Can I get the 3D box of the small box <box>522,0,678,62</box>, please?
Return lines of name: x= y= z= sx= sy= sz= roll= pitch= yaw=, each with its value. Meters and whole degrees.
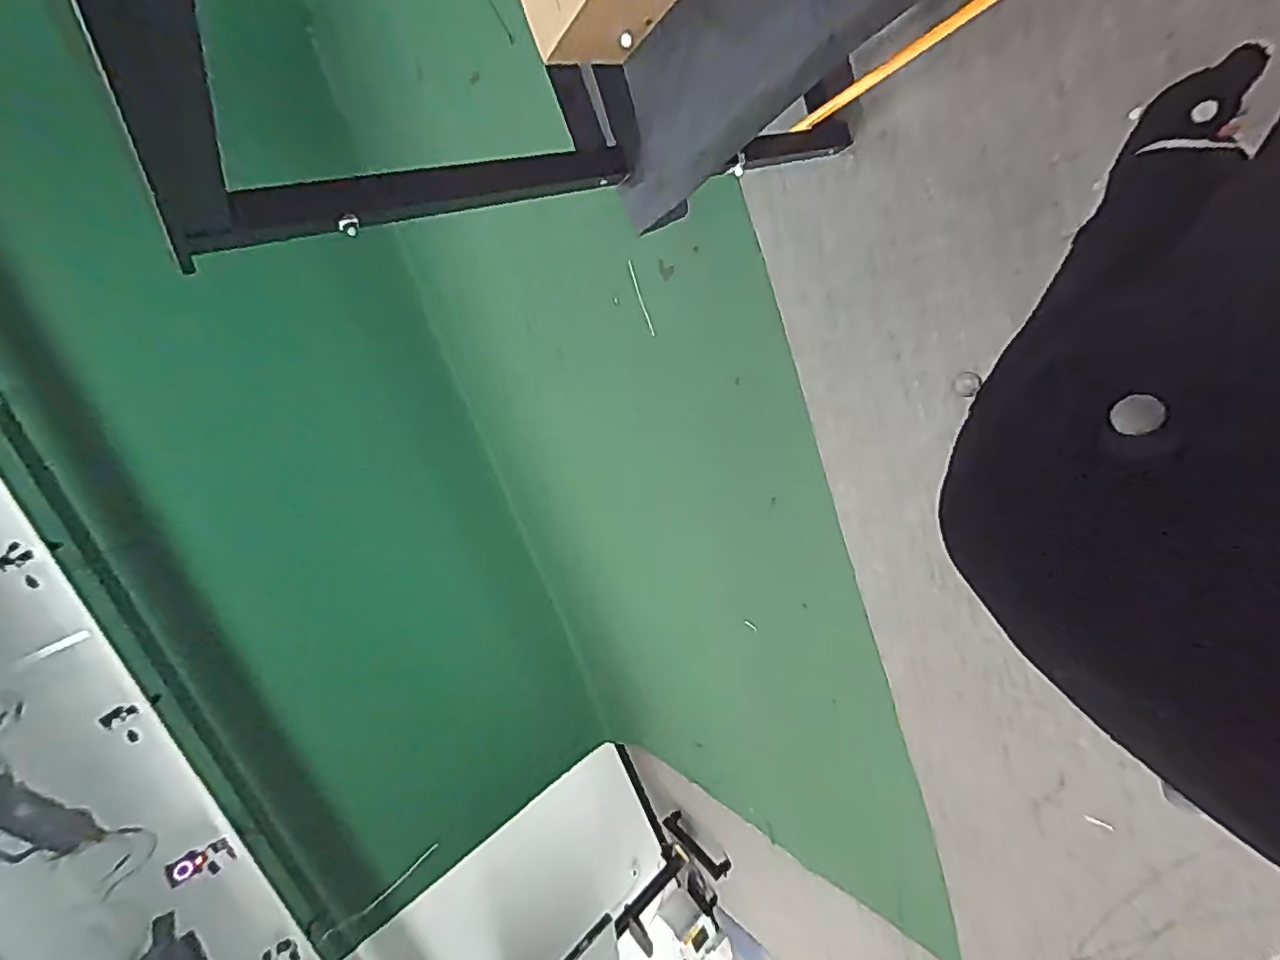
small box: x=-0.070 y=-0.770 z=0.816 sx=0.168 sy=0.176 sz=0.179 roll=-1 pitch=114 yaw=55
